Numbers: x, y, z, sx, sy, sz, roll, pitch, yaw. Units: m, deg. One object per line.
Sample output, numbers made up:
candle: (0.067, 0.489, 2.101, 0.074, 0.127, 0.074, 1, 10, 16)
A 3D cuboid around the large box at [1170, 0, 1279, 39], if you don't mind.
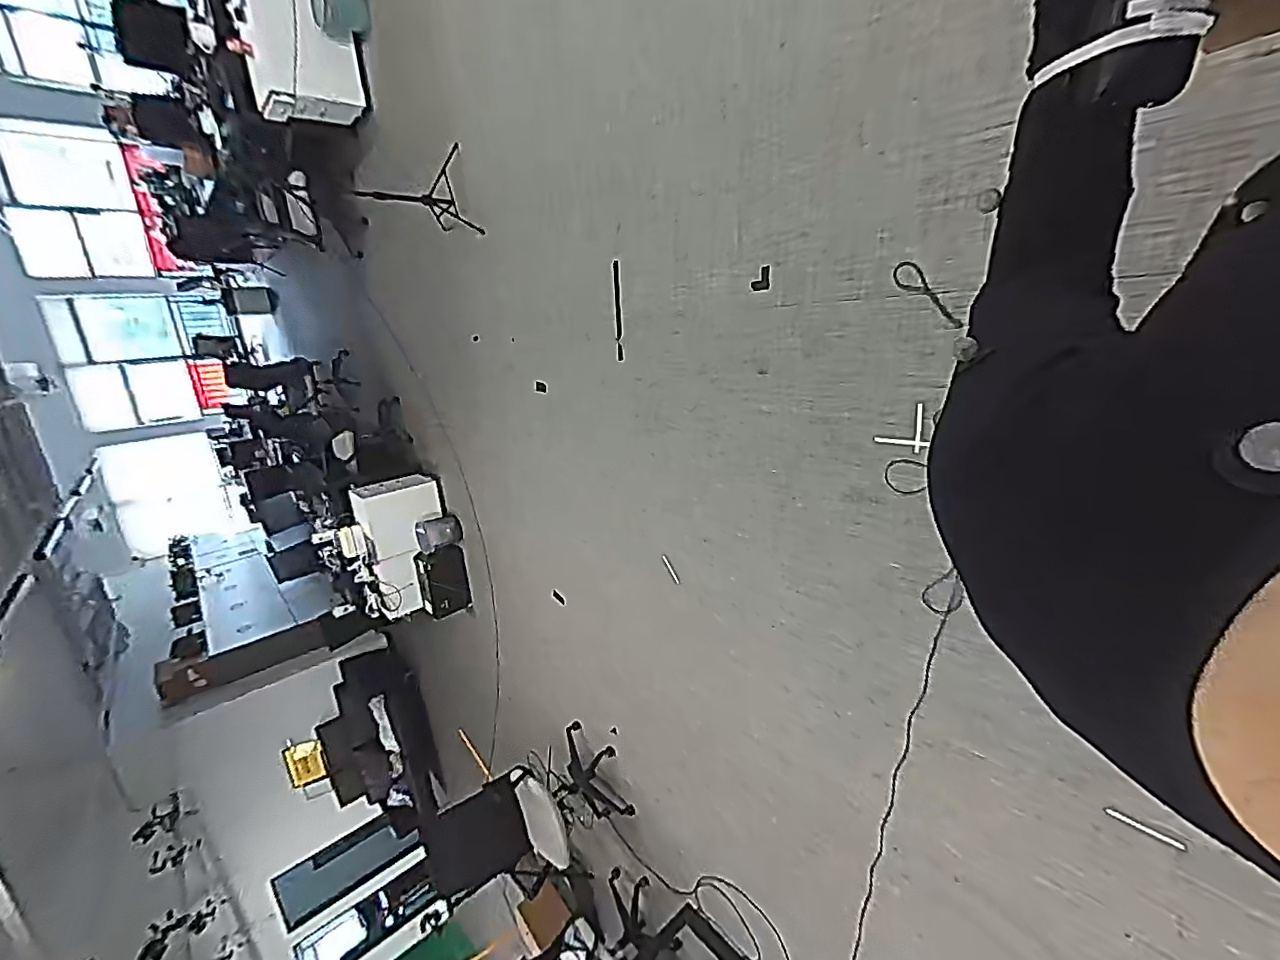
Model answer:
large box: (0.548, -0.494, 0.253, 0.408, 0.320, 0.320, 10, 121, 47)
